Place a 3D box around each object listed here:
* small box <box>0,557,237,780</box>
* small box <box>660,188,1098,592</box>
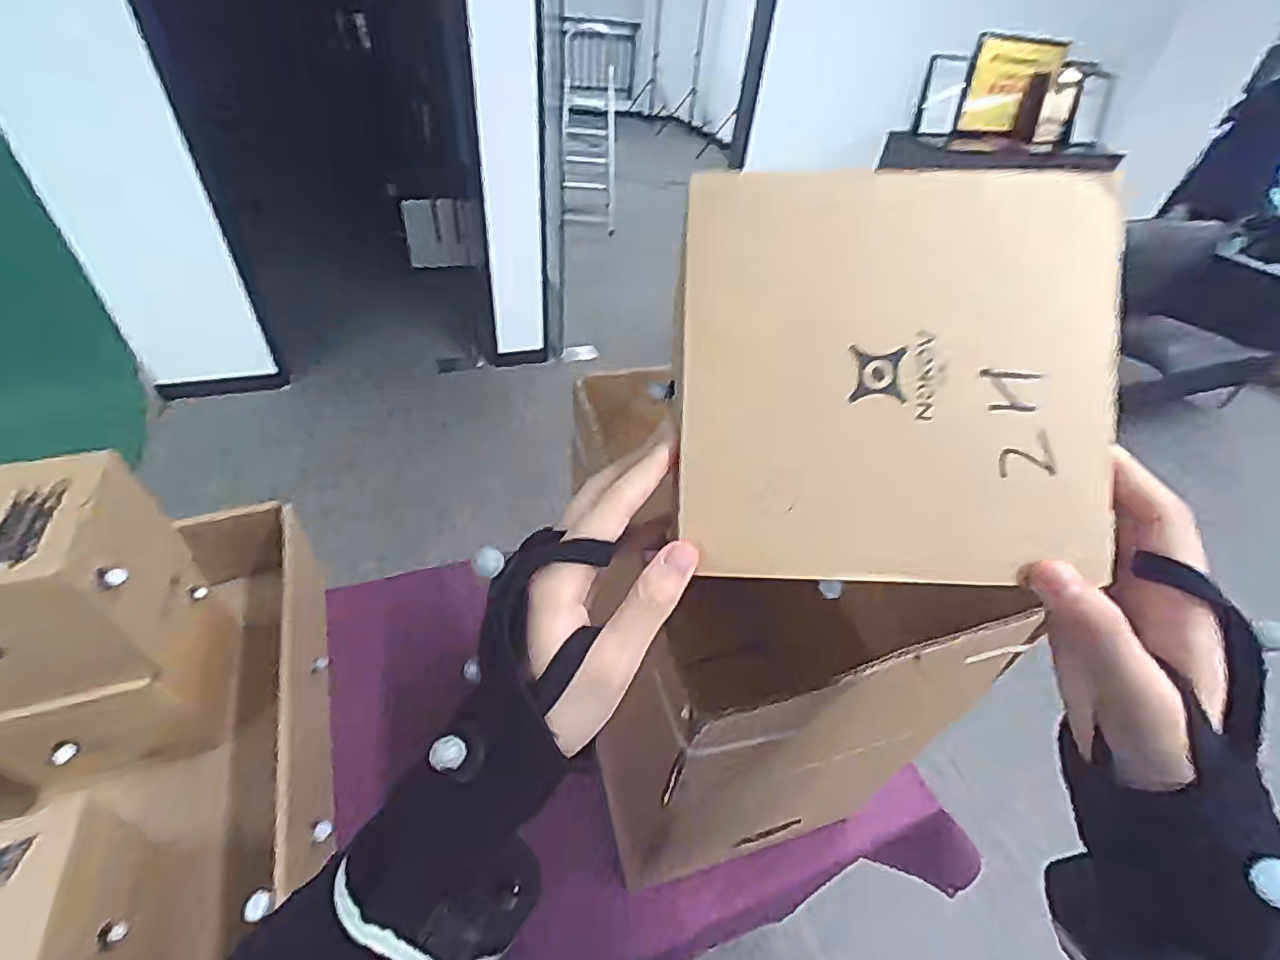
[{"bbox_3d":[-0.608,0.224,0.632,0.168,0.176,0.179,-11,46,-18],"label":"small box"},{"bbox_3d":[0.102,-0.038,0.305,0.179,0.168,0.176,2,0,2],"label":"small box"}]
